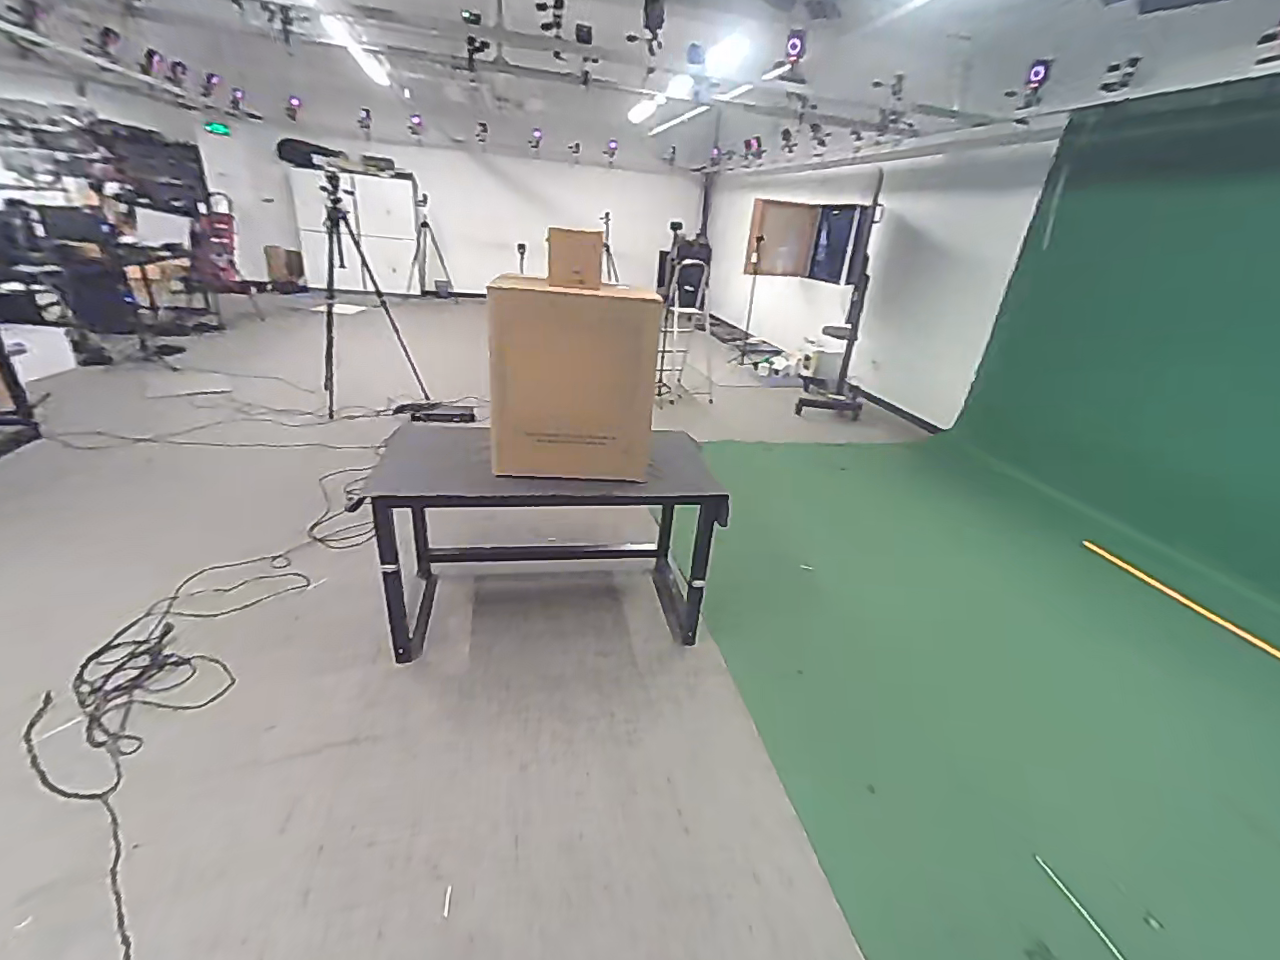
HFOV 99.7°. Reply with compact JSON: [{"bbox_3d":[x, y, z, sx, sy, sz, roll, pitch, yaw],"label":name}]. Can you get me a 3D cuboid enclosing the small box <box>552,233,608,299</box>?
[{"bbox_3d":[-0.191,-0.685,1.724,0.168,0.176,0.179,3,27,-6],"label":"small box"}]
